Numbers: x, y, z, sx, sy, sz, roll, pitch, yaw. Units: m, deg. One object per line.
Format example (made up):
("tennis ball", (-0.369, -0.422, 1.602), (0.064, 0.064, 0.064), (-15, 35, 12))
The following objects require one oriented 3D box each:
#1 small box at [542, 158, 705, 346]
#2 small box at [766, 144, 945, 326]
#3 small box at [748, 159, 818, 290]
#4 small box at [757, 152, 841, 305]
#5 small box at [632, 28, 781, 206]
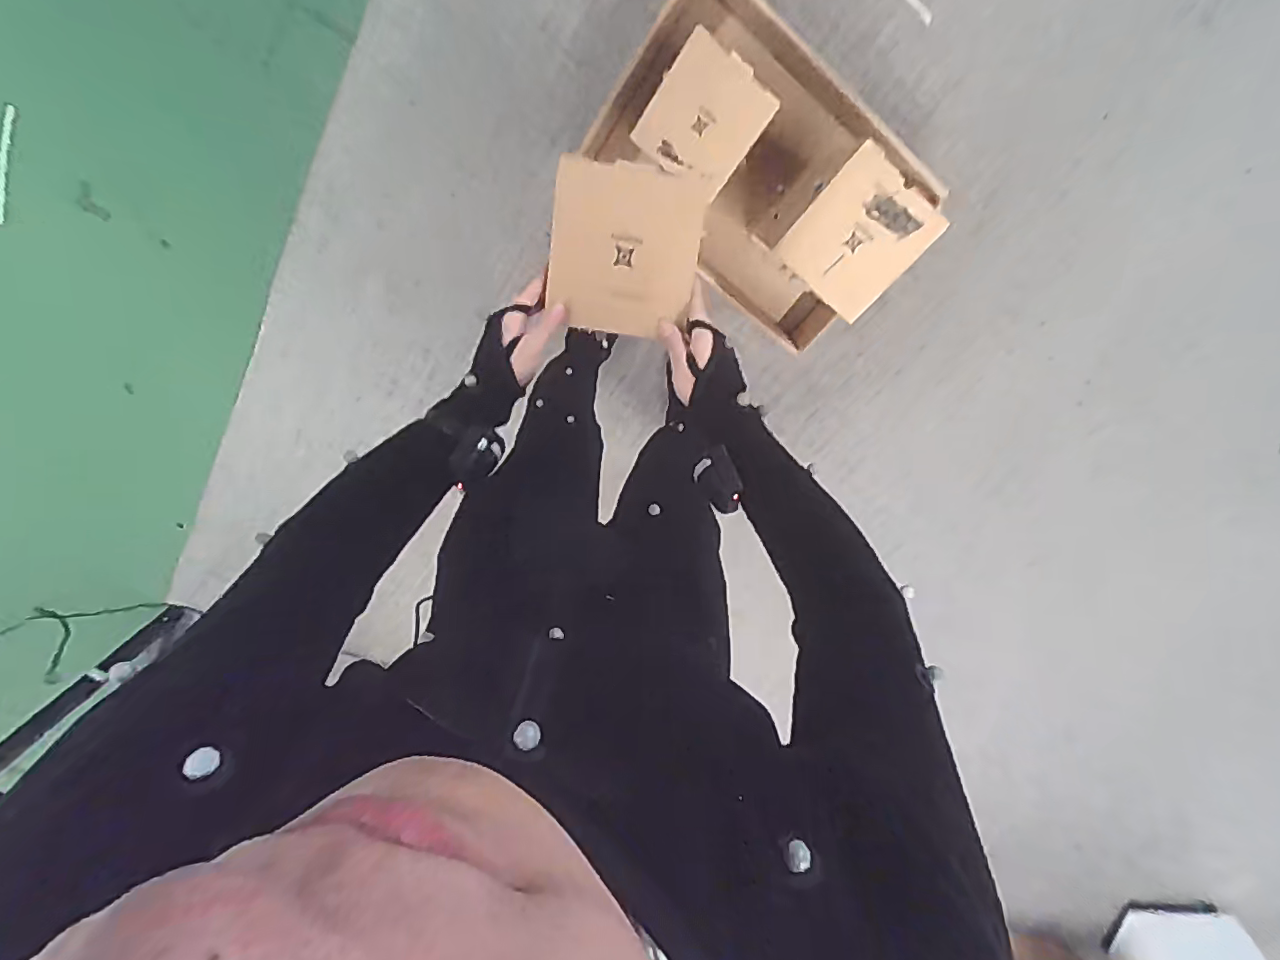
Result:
("small box", (-0.025, -0.272, 0.676), (0.168, 0.176, 0.179), (7, 107, -4))
("small box", (0.311, -0.371, 0.824), (0.168, 0.176, 0.179), (38, 117, -12))
("small box", (0.340, -0.523, 1.114), (0.168, 0.176, 0.179), (38, 116, -13))
("small box", (0.326, -0.447, 0.969), (0.168, 0.176, 0.179), (38, 115, -13))
("small box", (0.106, -0.593, 0.909), (0.168, 0.176, 0.179), (36, 116, -13))
